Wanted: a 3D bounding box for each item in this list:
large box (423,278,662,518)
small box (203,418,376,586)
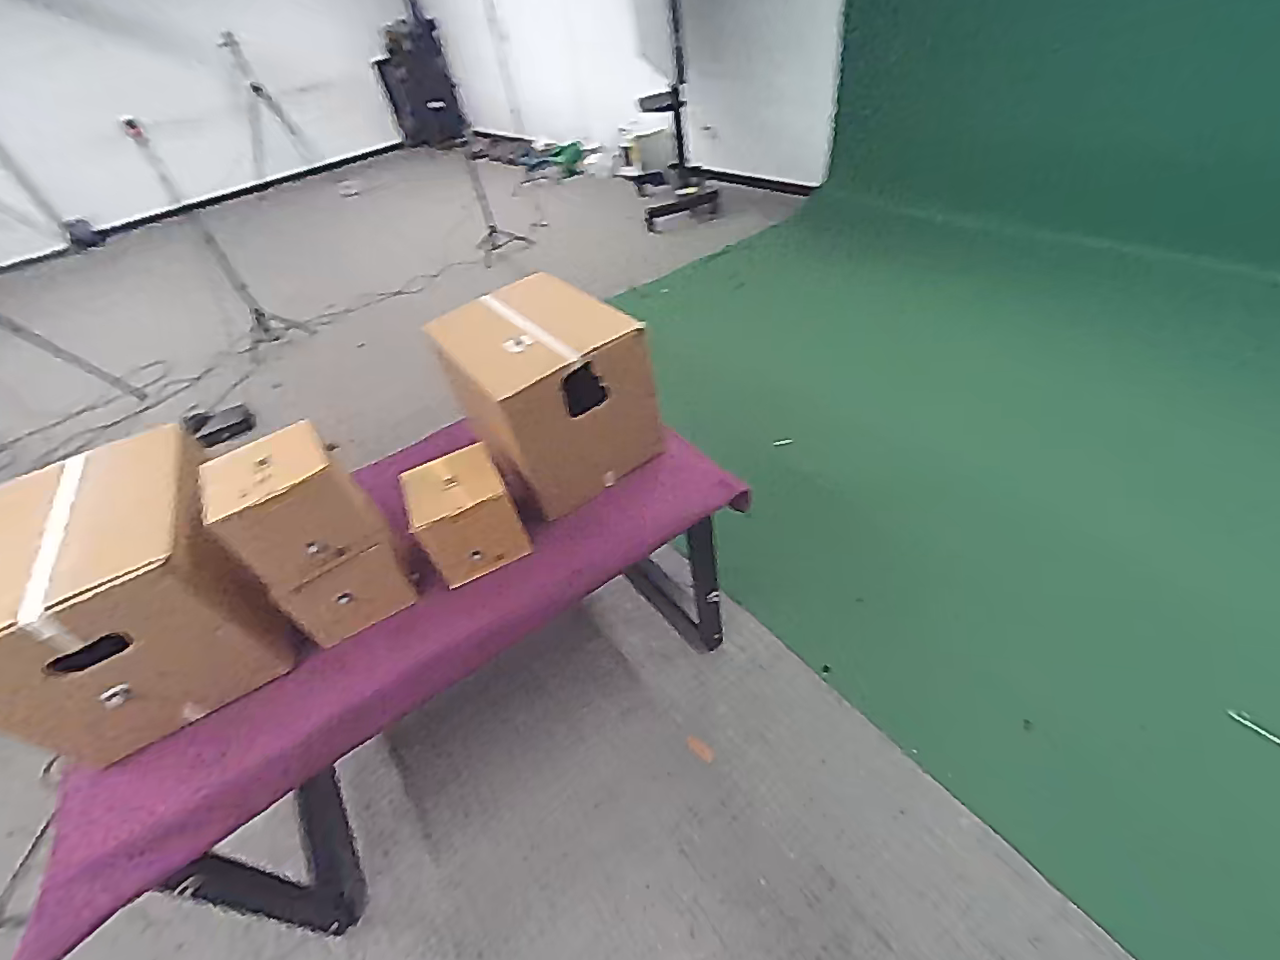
[{"bbox_3d":[-0.204,-0.192,1.180,0.320,0.320,0.408,-33,48,-19],"label":"large box"},{"bbox_3d":[-0.556,0.035,0.868,0.168,0.176,0.179,-31,46,-20],"label":"small box"}]
